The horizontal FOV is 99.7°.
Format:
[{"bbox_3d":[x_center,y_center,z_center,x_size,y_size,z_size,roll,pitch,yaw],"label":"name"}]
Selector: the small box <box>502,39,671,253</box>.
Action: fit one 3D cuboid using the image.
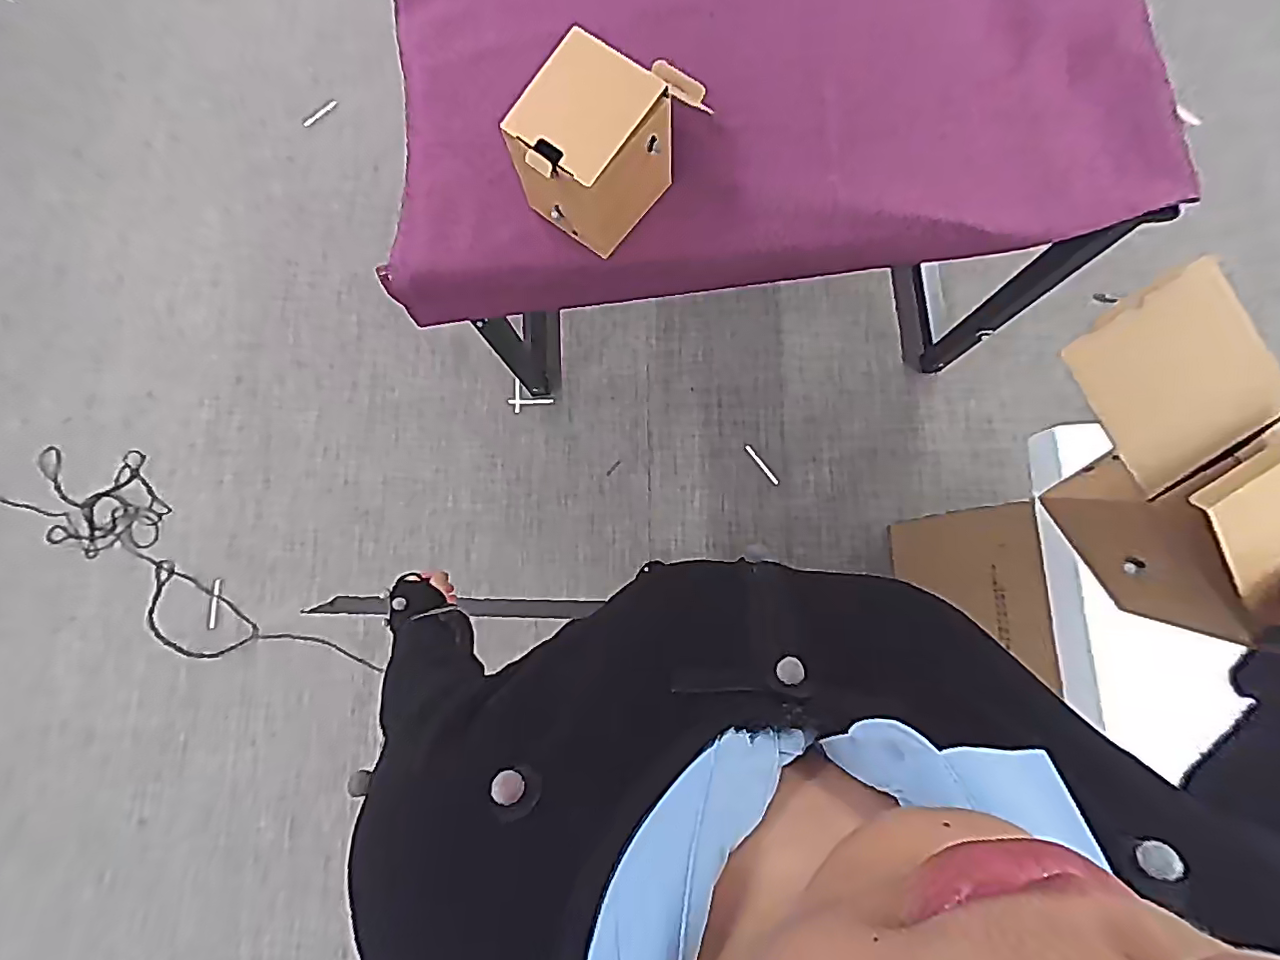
[{"bbox_3d":[-0.071,-0.487,0.811,0.168,0.176,0.179,38,85,10],"label":"small box"}]
